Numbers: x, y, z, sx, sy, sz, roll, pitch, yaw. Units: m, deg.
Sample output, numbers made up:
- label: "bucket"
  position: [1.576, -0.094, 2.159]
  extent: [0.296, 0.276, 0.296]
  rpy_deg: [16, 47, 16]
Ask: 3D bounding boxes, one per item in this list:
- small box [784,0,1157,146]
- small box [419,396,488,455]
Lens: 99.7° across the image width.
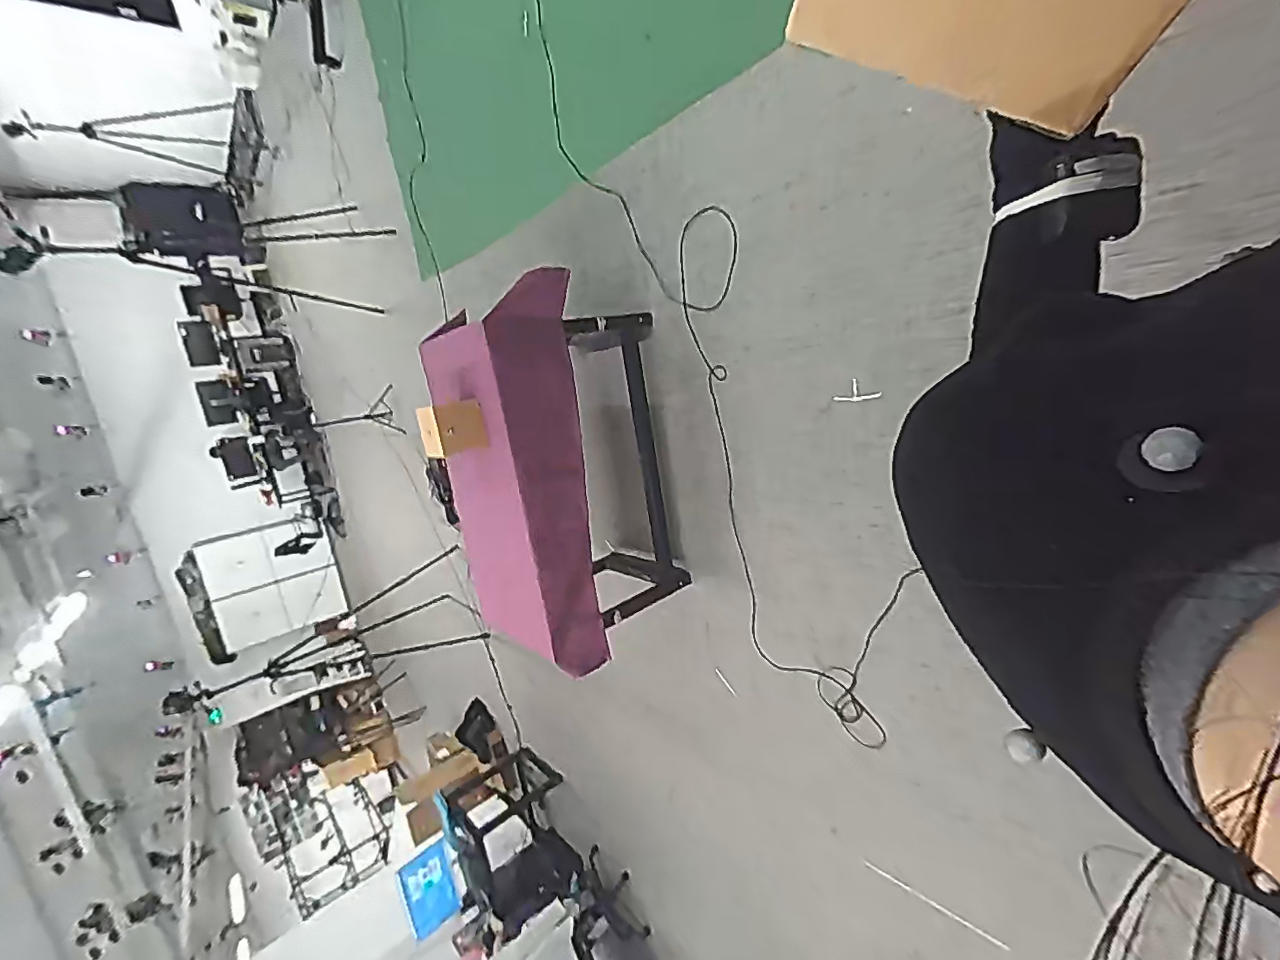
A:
- label: "small box"
  position: [0.194, -0.320, 0.273]
  extent: [0.168, 0.179, 0.176]
  rpy_deg: [20, 150, 1]
- label: "small box"
  position: [-0.648, -0.193, 1.892]
  extent: [0.168, 0.176, 0.179]
  rpy_deg: [6, 109, 49]
